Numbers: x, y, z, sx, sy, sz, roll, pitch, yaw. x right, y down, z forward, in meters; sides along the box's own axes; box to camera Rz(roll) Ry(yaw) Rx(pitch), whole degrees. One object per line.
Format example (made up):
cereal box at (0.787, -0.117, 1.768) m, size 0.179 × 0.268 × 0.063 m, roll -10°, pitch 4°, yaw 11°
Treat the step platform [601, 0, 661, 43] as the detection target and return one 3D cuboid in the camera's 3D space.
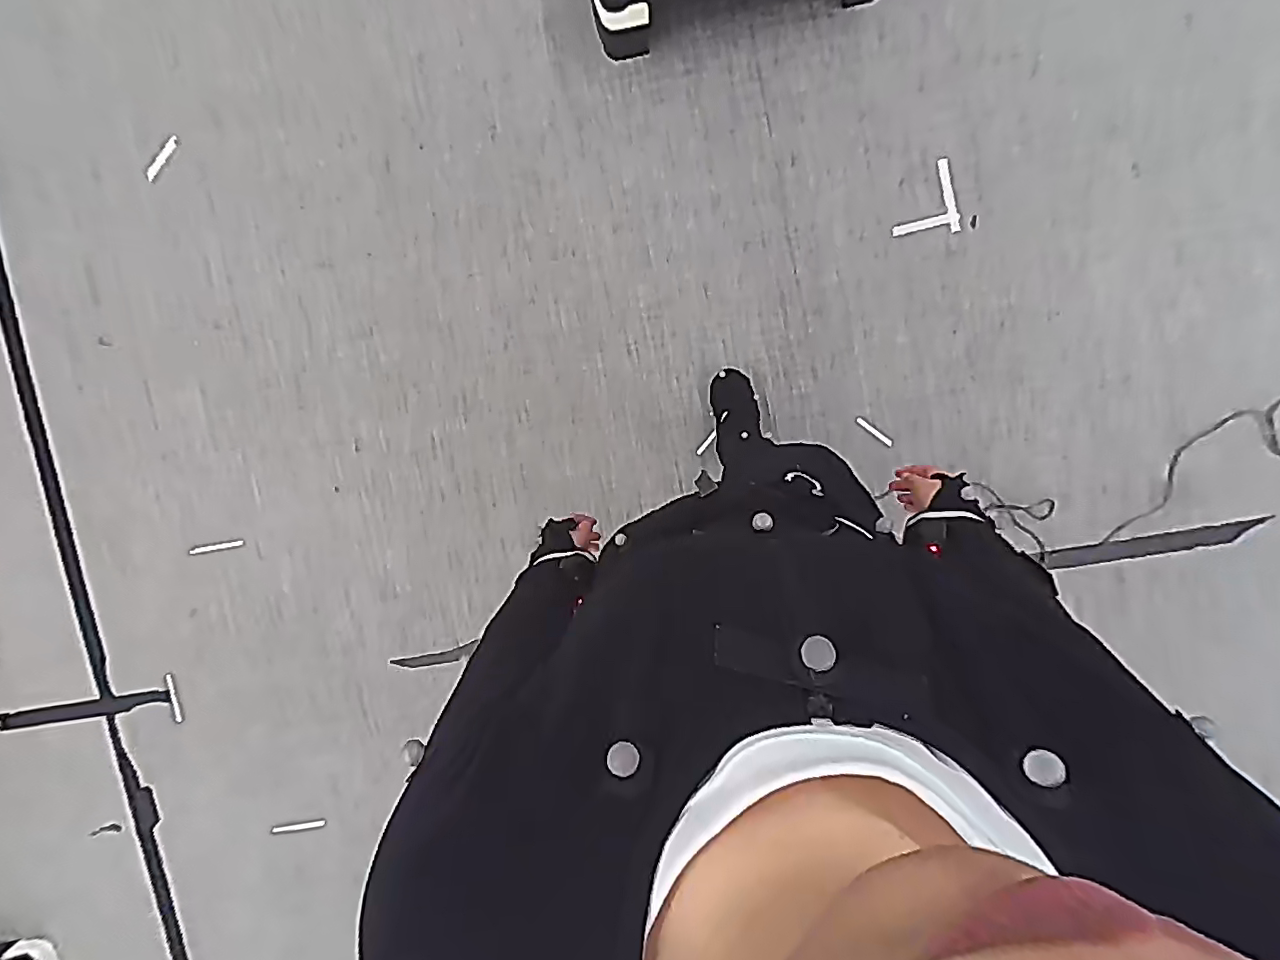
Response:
step platform at (0.226, -1.234, 1.182) m, size 0.684 × 0.204 × 0.286 m, roll -11°, pitch 93°, yaw 5°
